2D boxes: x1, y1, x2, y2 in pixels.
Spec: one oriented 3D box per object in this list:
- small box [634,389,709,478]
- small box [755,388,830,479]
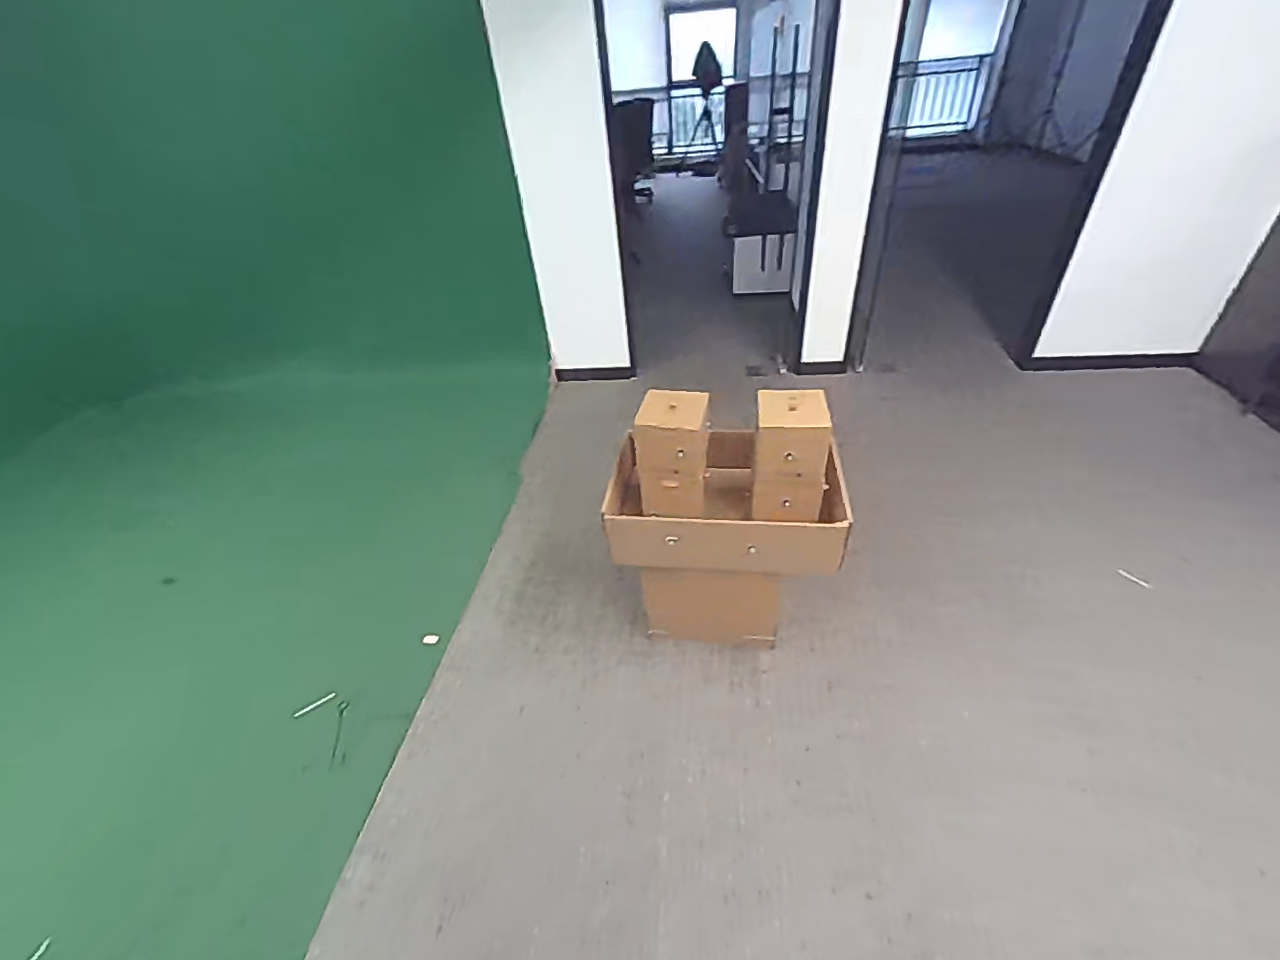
[{"bbox_3d":[0.089,-0.122,1.422,0.168,0.176,0.179,6,39,13],"label":"small box"},{"bbox_3d":[0.382,-0.118,1.374,0.168,0.176,0.179,2,39,10],"label":"small box"}]
